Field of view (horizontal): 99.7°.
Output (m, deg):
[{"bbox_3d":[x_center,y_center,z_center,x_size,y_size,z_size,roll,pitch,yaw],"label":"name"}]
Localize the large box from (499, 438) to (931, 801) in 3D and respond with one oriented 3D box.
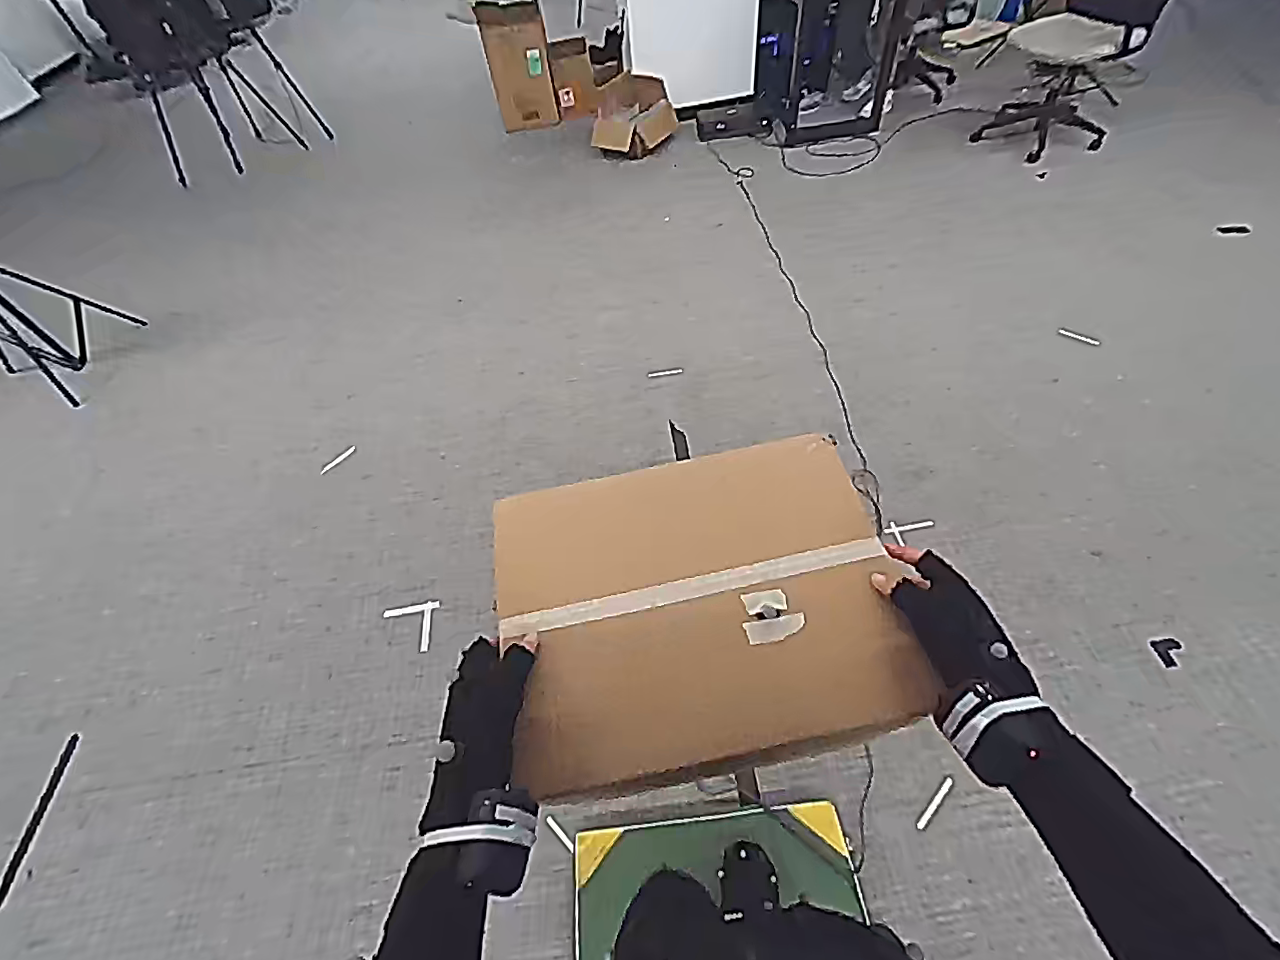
[{"bbox_3d":[0.065,0.194,0.704,0.408,0.320,0.320,-12,59,-2],"label":"large box"}]
